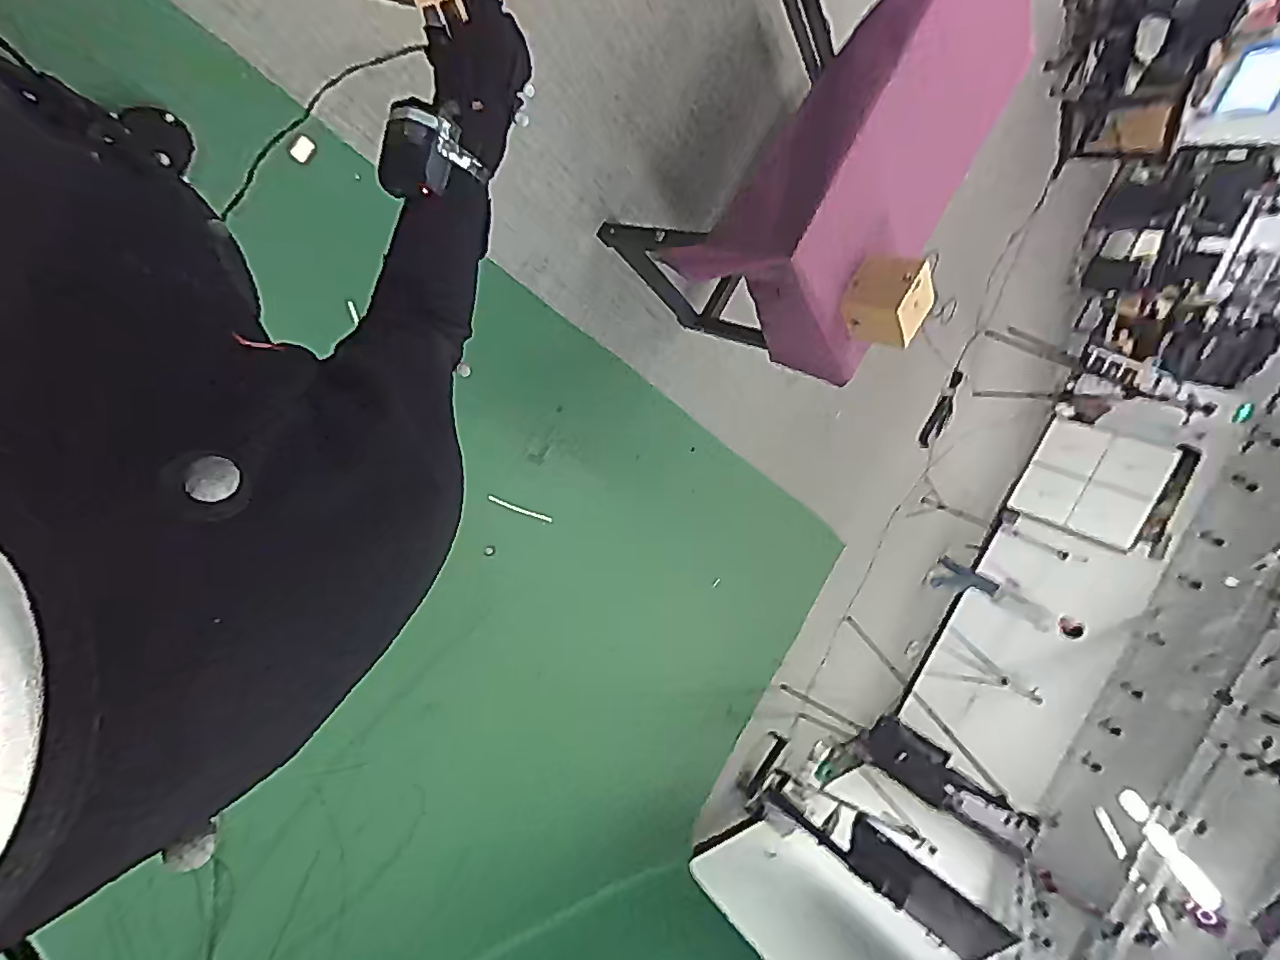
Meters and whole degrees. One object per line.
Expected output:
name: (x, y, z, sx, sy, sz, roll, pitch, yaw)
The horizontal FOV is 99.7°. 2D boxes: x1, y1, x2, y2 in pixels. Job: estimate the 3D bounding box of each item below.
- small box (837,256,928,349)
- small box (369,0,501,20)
small box: (0.675, -0.500, 1.509, 0.168, 0.176, 0.179, -58, 142, -5)
small box: (-0.170, -0.520, 0.450, 0.179, 0.176, 0.168, -37, 147, -20)
